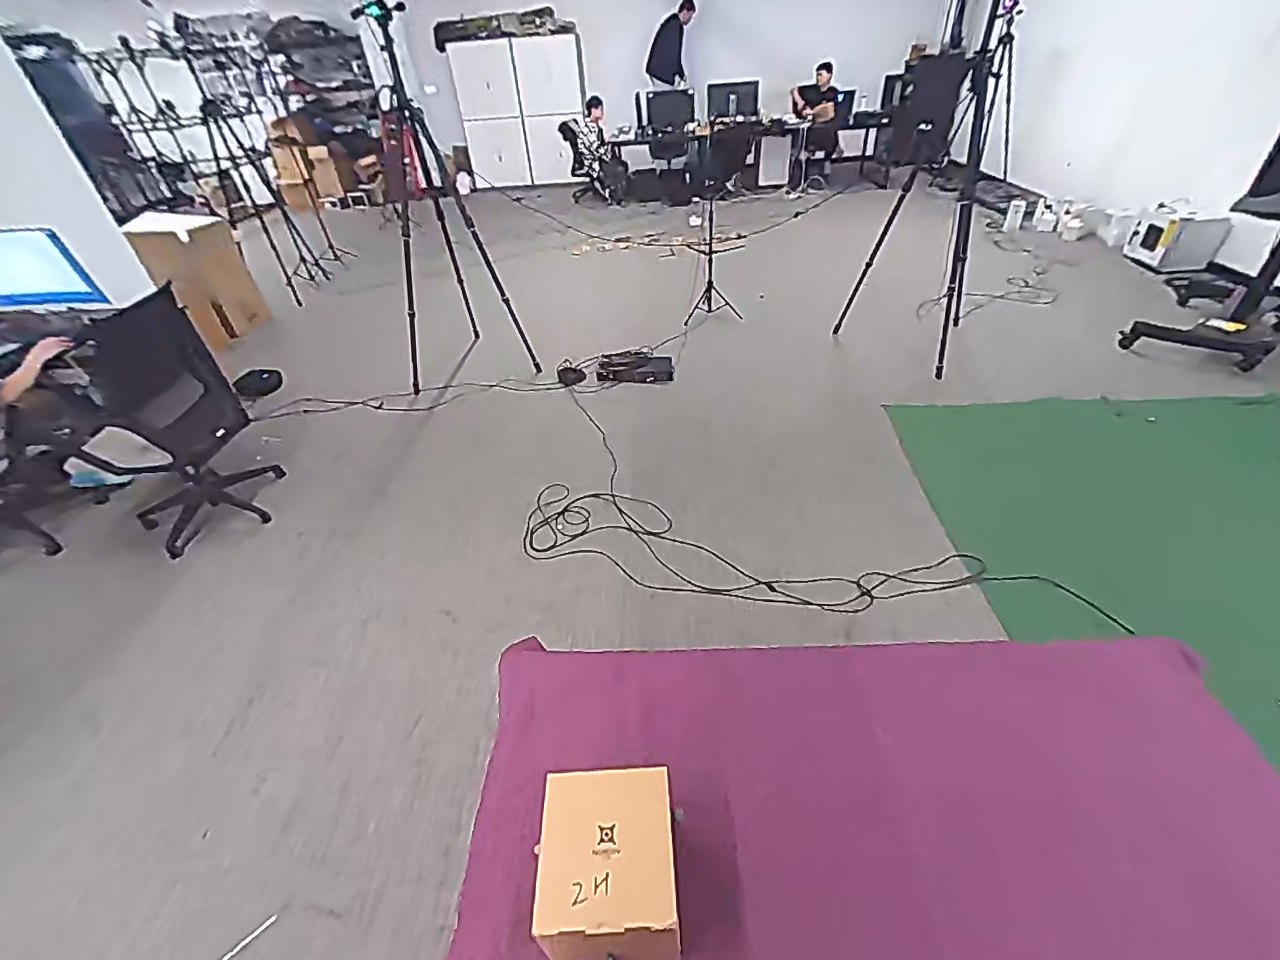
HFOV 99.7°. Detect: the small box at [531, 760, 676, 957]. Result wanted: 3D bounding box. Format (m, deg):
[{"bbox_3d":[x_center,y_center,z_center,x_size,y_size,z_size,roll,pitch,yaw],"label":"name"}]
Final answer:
[{"bbox_3d":[-0.040,0.502,0.721,0.168,0.176,0.179,-4,39,1],"label":"small box"}]
